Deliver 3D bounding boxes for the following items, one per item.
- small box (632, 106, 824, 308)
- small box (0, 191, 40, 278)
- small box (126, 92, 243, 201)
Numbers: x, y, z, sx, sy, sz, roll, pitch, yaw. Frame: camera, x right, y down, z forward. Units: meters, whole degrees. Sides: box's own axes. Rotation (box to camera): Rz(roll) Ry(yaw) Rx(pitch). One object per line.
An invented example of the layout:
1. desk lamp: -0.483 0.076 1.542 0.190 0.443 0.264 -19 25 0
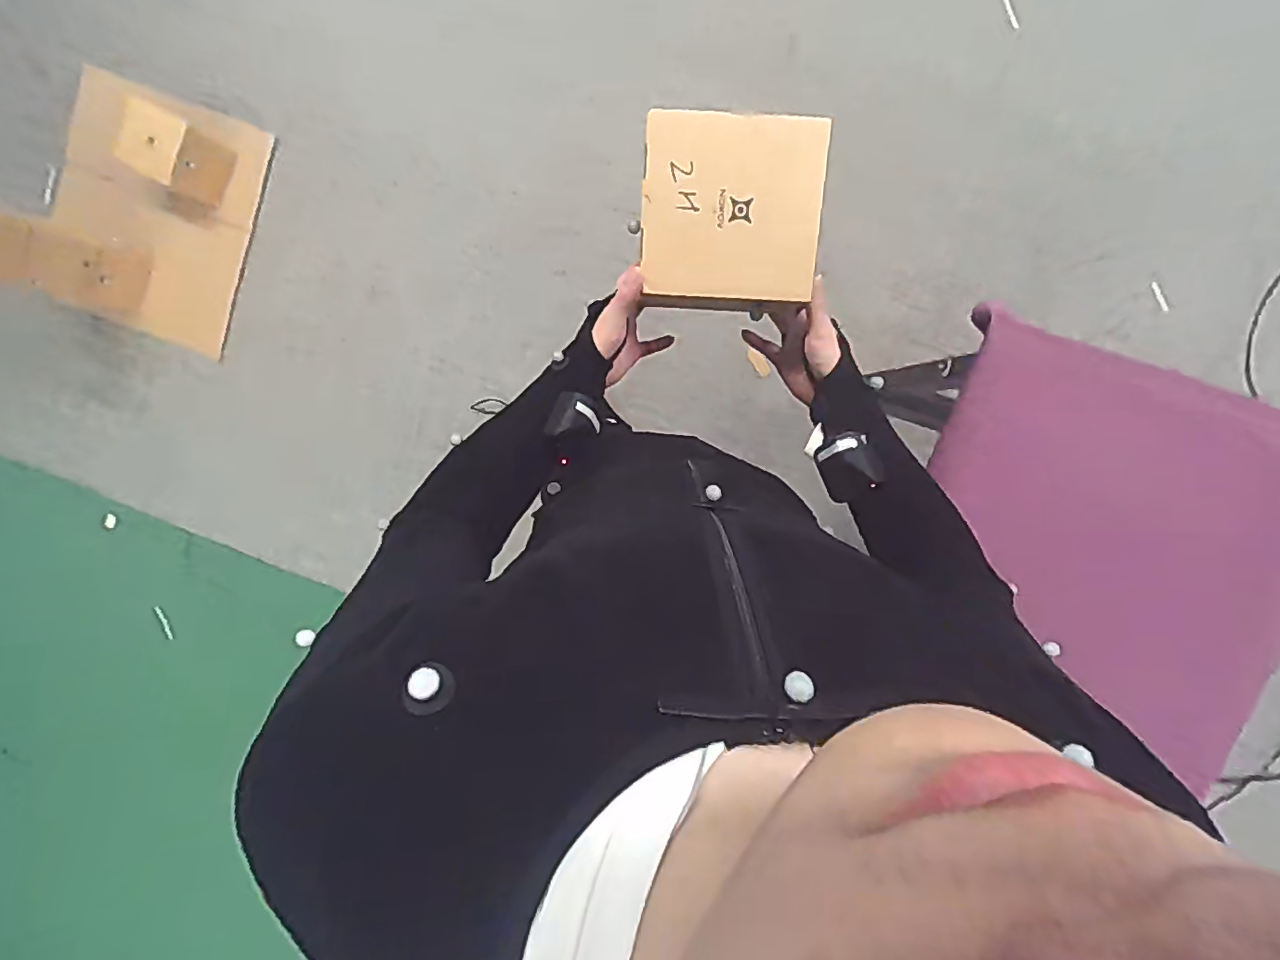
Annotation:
1. small box: 0.083 -0.286 0.603 0.179 0.176 0.168 3 103 0
2. small box: -1.573 -0.598 1.255 0.168 0.176 0.179 28 98 -1
3. small box: -1.272 -0.929 1.524 0.168 0.176 0.179 27 99 1
